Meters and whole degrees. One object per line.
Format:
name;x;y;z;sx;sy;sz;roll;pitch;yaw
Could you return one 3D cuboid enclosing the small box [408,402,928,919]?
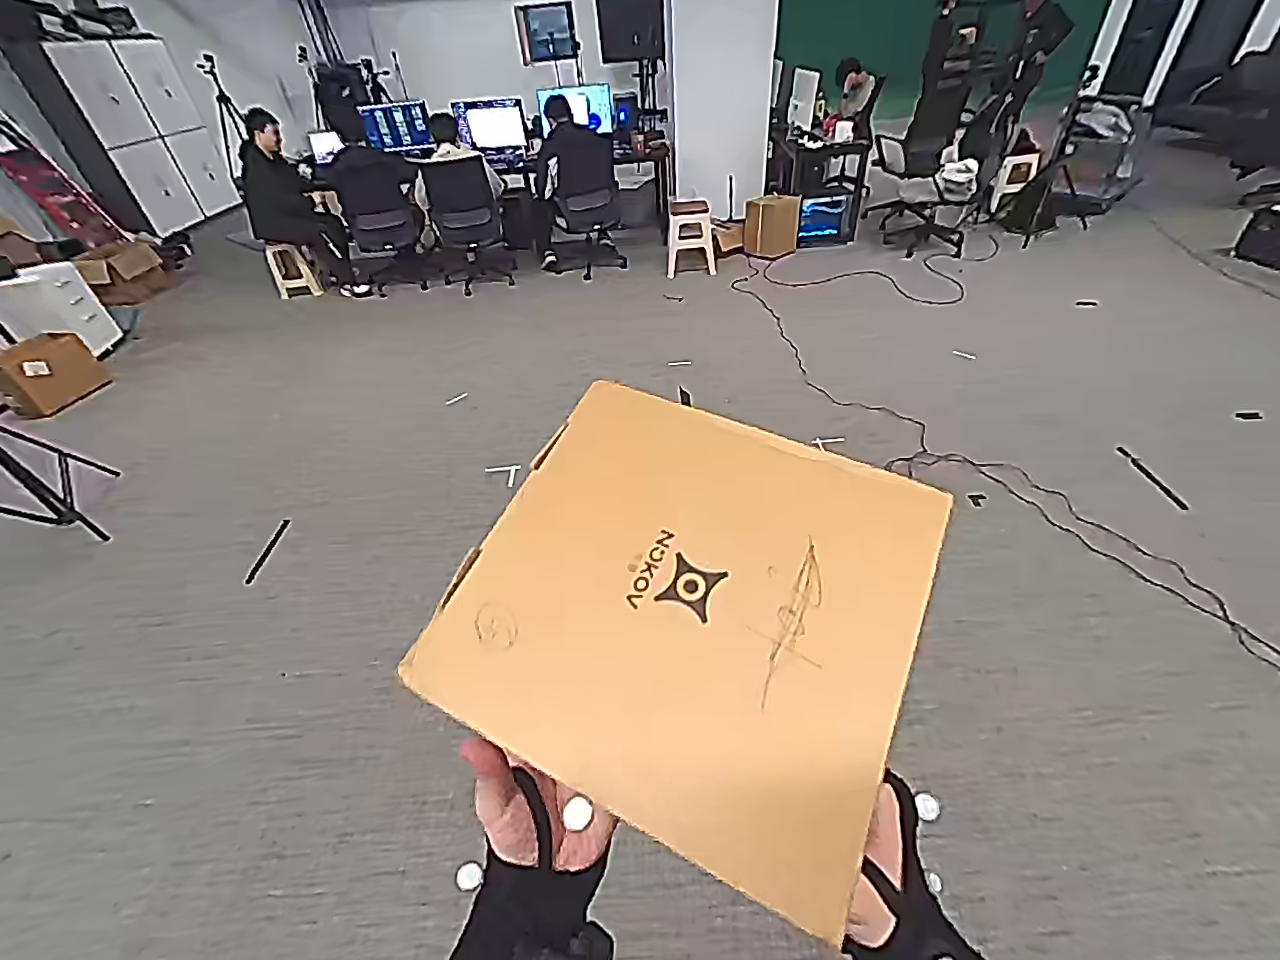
small box;0.023;0.090;0.298;0.179;0.176;0.168;21;64;18
